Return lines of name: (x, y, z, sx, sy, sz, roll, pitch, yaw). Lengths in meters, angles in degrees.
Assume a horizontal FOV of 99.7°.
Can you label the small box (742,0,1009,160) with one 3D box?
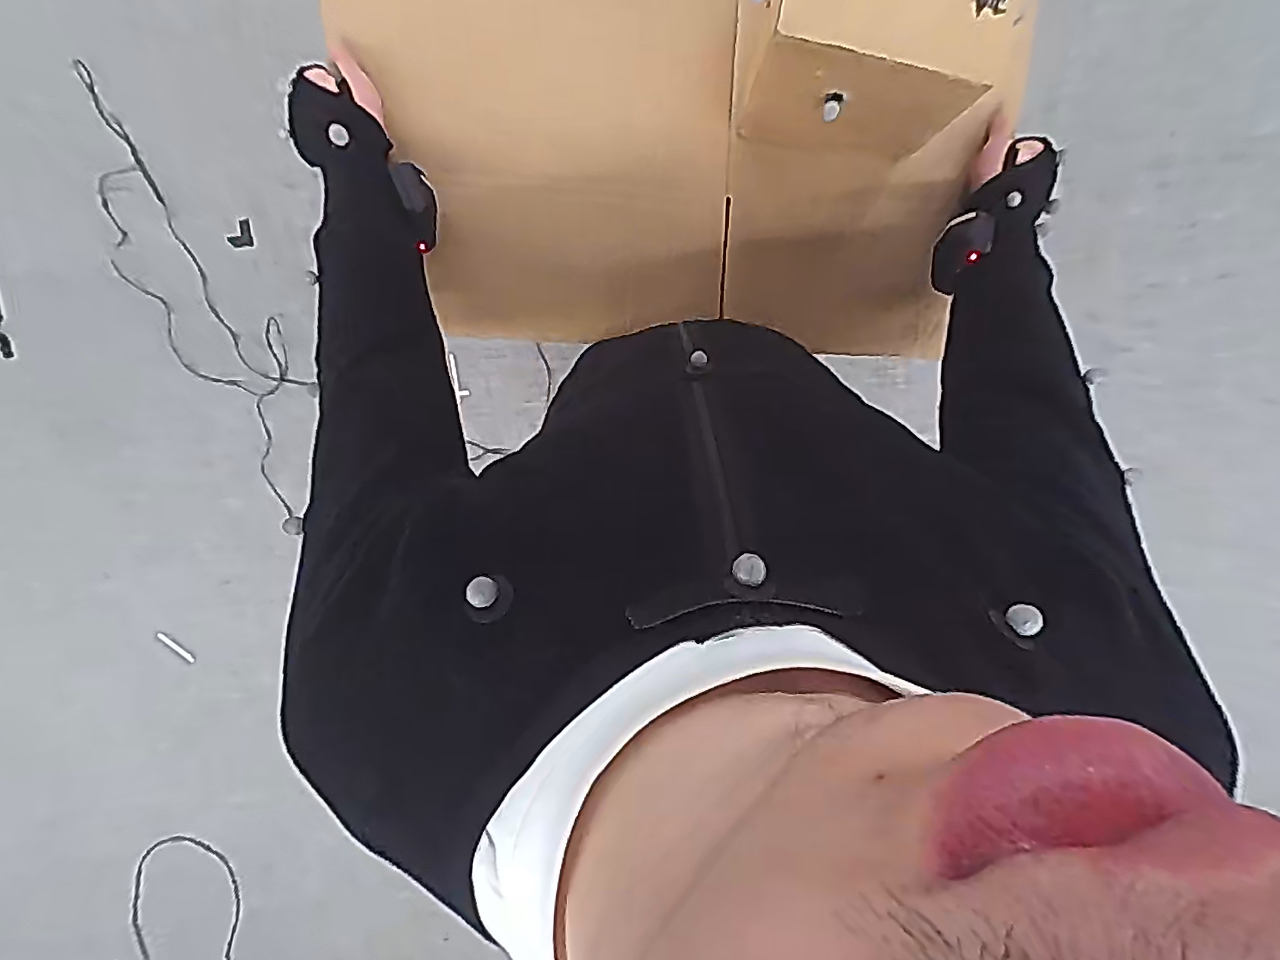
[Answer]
small box: (0.200, -0.414, 0.479, 0.179, 0.176, 0.168, 12, 101, -1)
